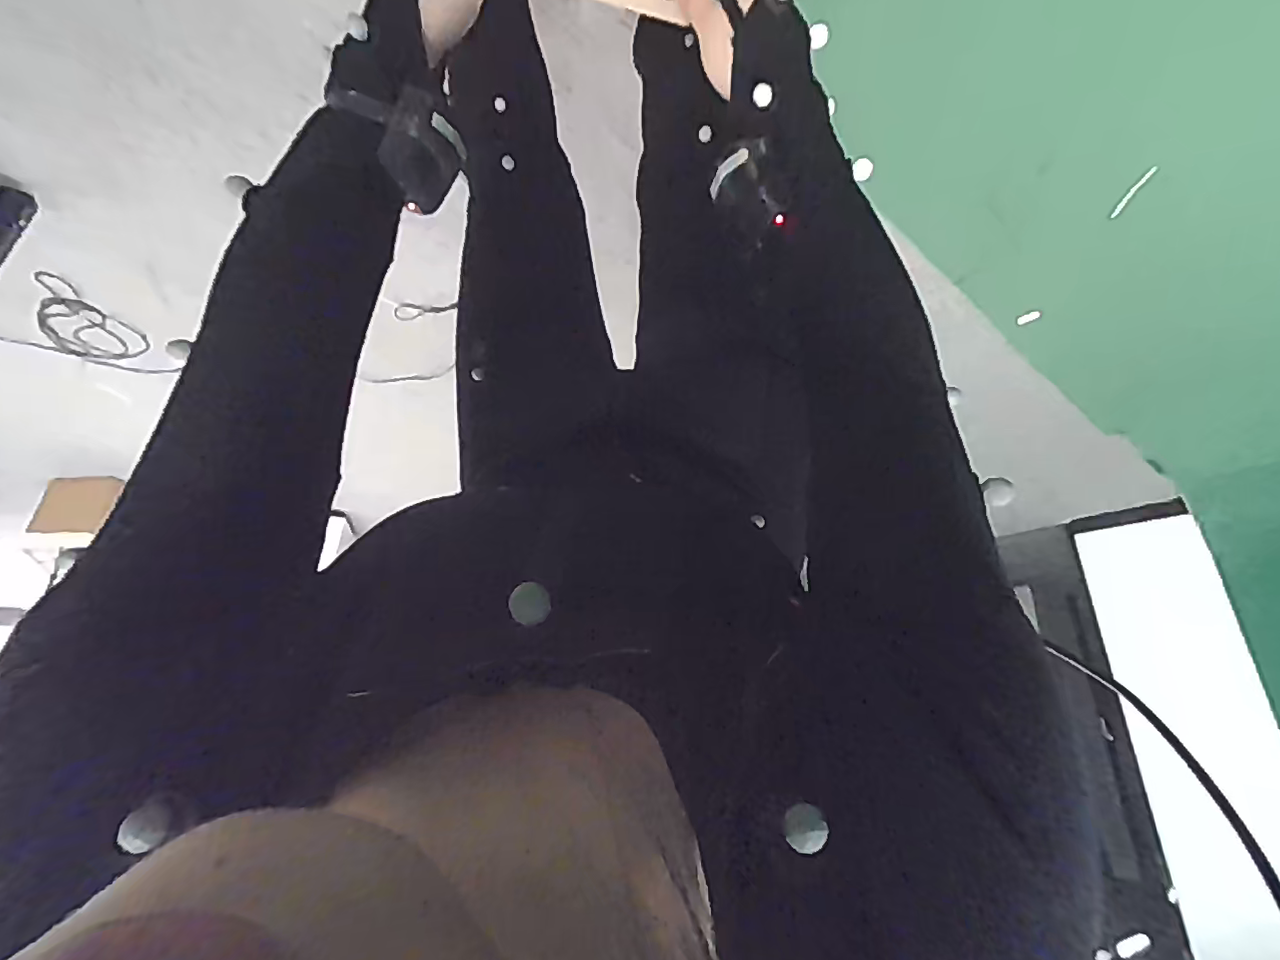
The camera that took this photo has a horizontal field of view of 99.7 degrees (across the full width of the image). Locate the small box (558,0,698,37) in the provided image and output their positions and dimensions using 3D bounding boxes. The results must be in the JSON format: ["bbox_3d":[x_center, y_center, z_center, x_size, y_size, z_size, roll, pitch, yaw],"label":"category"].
[{"bbox_3d":[-0.018,-0.477,0.380,0.168,0.176,0.179,8,156,-10],"label":"small box"}]
